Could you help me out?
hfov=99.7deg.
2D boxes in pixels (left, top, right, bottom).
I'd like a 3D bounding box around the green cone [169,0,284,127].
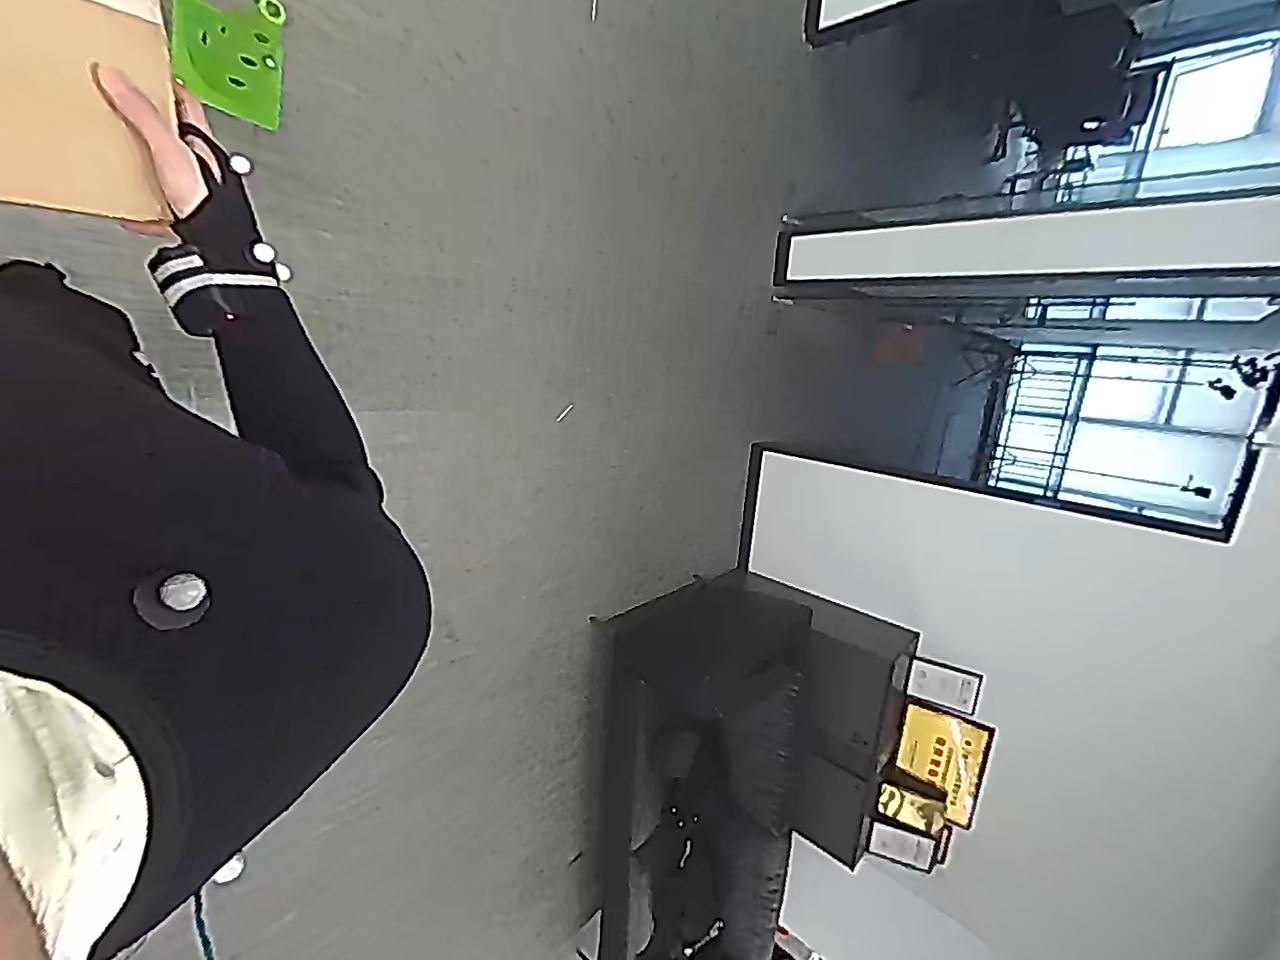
[{"bbox_3d":[-0.802,-0.902,1.104,0.200,0.368,0.202,-2,103,-49],"label":"green cone"}]
